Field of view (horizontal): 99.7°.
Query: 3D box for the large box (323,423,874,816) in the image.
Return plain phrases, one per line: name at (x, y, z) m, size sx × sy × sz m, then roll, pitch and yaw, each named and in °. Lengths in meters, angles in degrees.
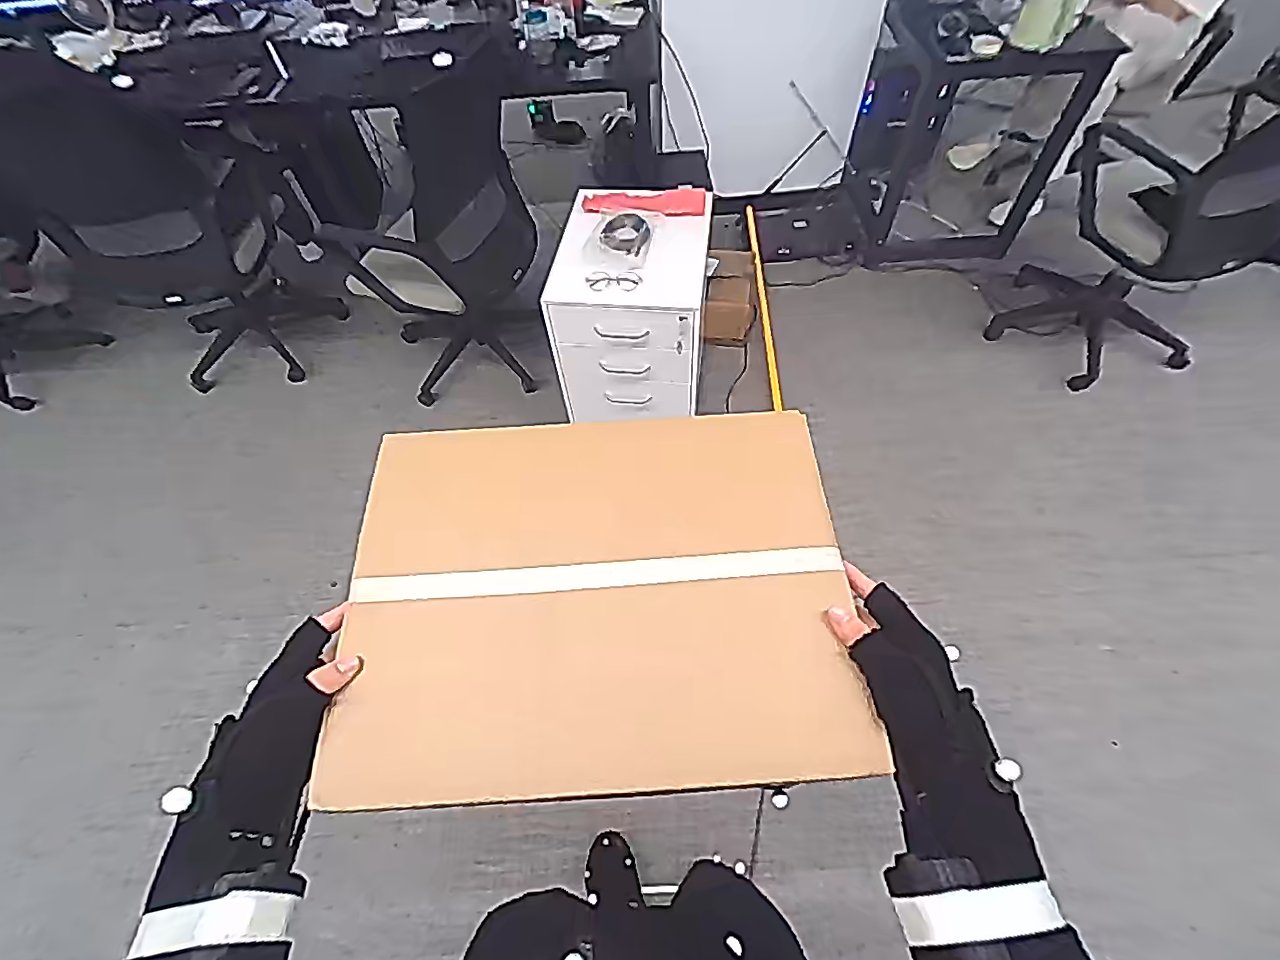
large box at (-0.033, 0.161, 0.586) m, size 0.408 × 0.320 × 0.320 m, roll -3°, pitch 60°, yaw -1°
